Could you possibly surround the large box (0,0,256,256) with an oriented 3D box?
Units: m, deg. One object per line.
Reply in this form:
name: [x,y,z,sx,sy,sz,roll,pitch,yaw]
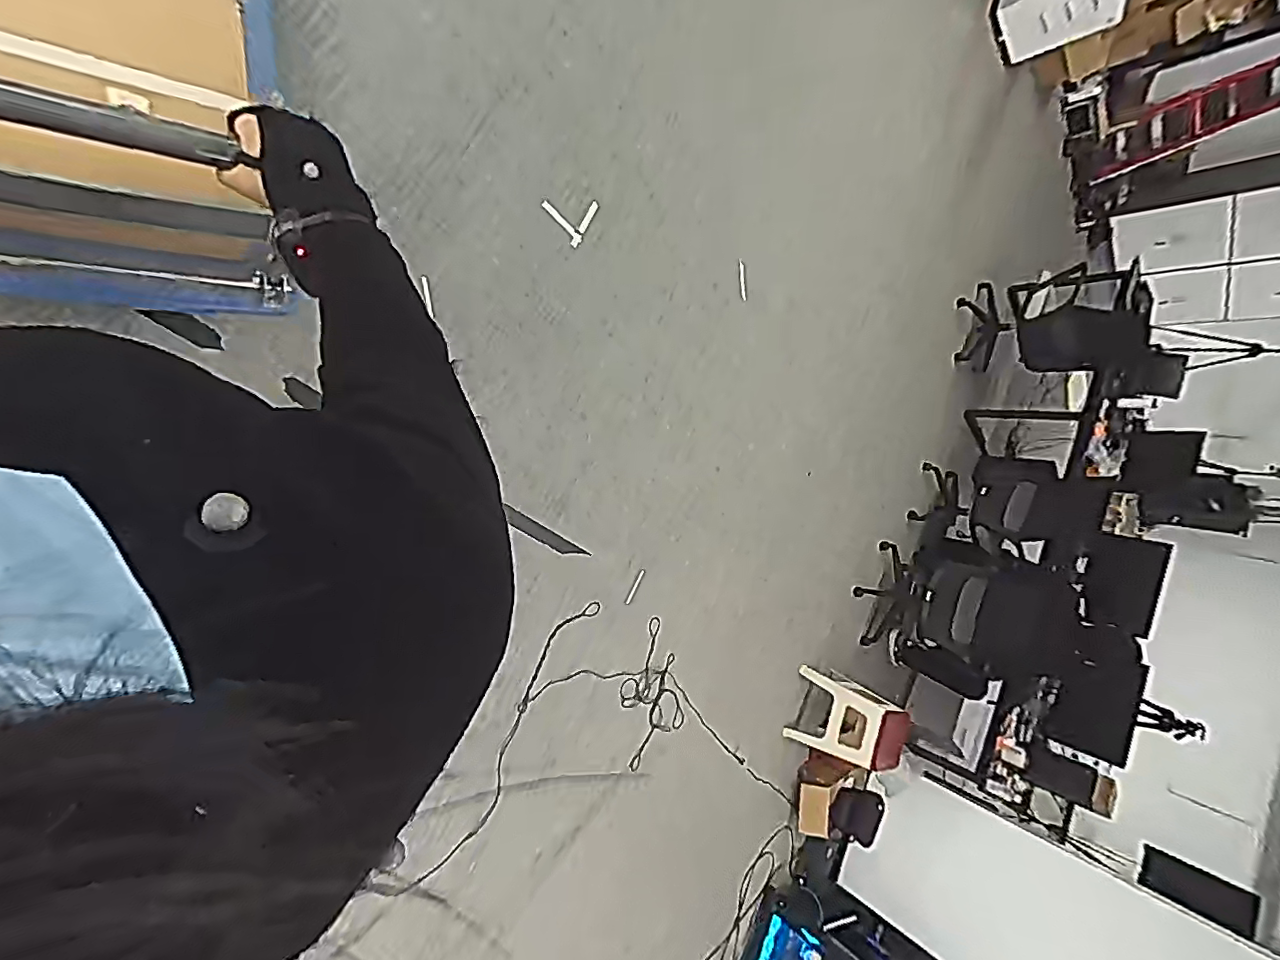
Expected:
large box: [-0.833,-0.538,0.775,0.408,0.320,0.320,-8,103,-42]
